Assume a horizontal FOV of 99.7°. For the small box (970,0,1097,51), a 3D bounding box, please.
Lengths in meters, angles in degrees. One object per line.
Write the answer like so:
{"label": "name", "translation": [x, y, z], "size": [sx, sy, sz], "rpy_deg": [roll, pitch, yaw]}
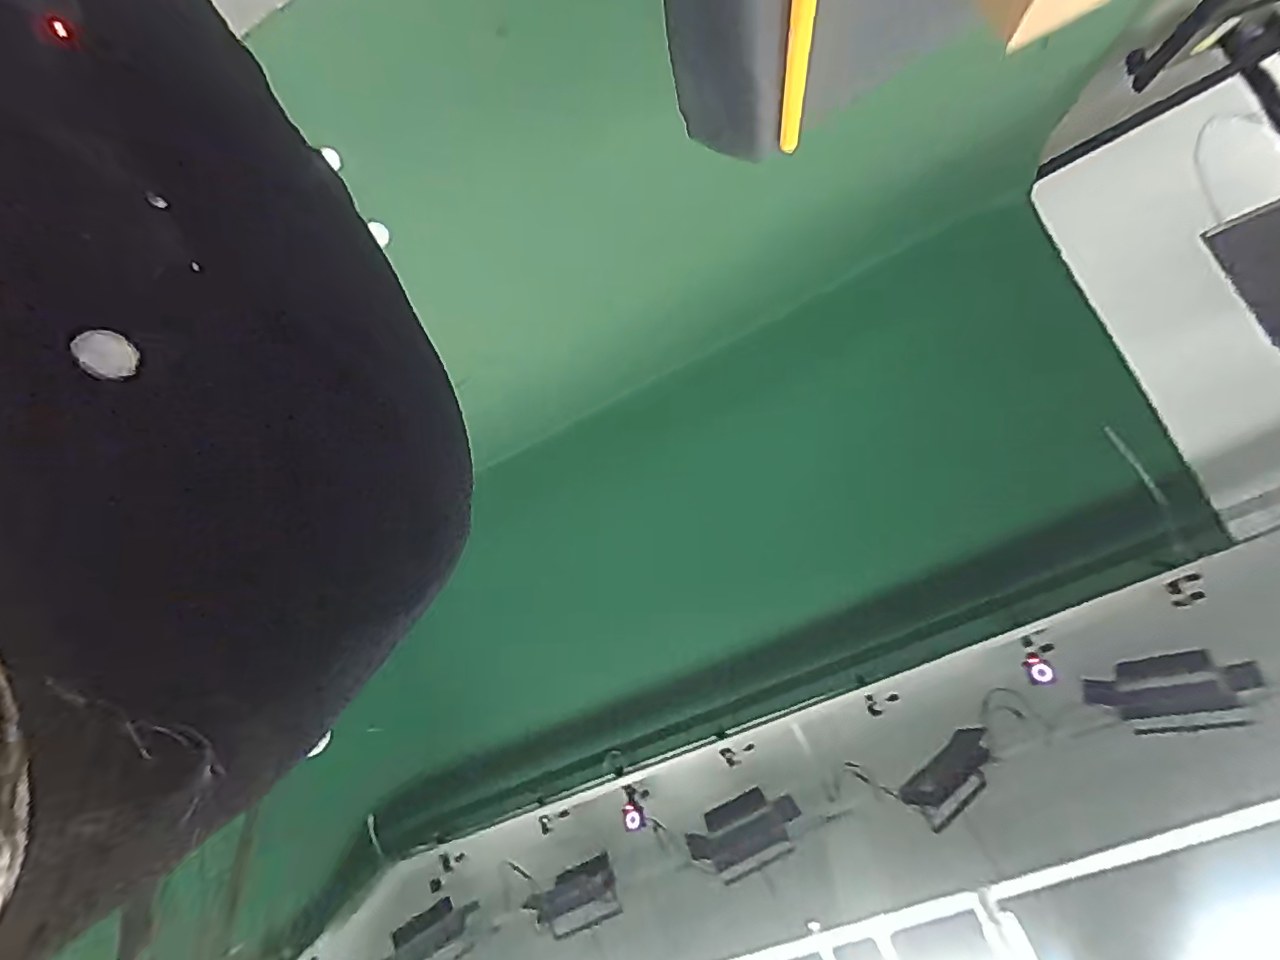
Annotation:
{"label": "small box", "translation": [0.386, -0.541, 0.458], "size": [0.179, 0.176, 0.168], "rpy_deg": [-26, 172, 9]}
